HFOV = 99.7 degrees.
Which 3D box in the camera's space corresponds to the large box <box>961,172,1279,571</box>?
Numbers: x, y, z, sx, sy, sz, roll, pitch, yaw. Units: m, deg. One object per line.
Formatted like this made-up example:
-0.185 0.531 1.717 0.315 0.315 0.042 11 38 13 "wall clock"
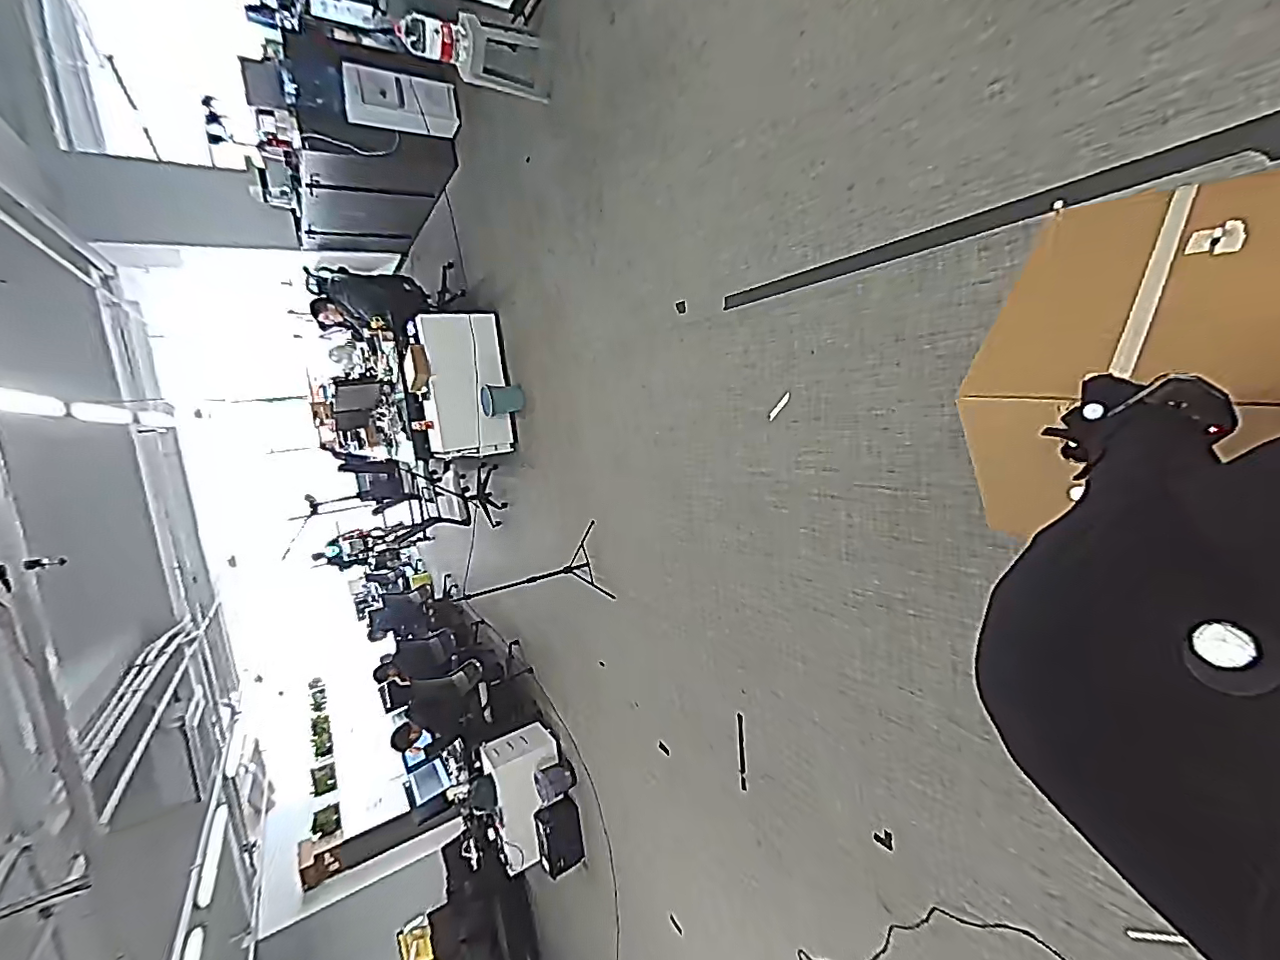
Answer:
0.711 -0.145 0.754 0.320 0.408 0.320 14 151 49 "large box"
